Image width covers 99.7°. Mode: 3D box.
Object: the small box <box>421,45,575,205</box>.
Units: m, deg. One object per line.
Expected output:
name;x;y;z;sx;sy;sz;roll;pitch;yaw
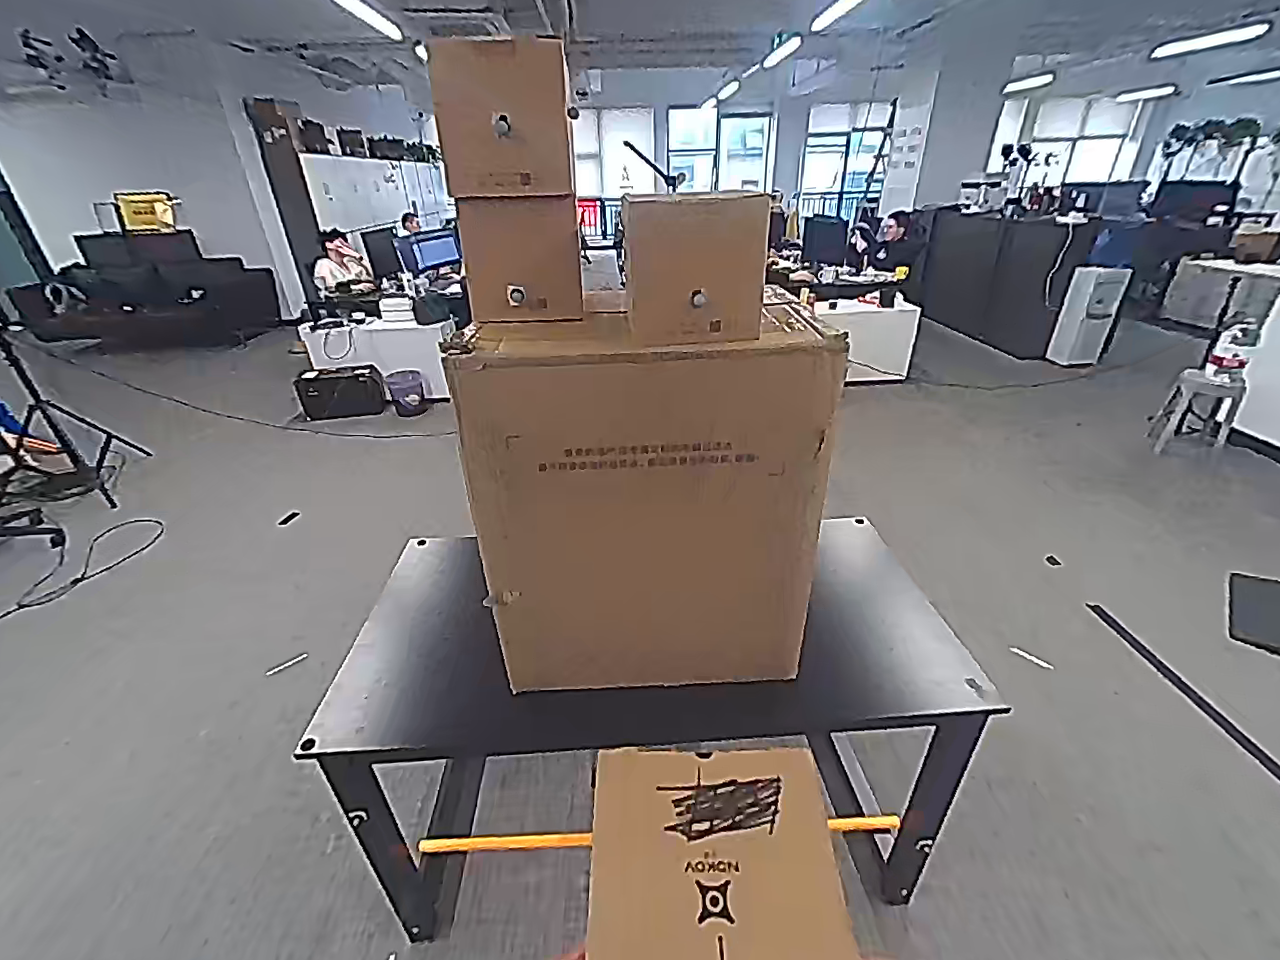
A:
small box;-0.180;-0.476;0.747;0.168;0.176;0.179;-4;29;-4

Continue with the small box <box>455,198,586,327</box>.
small box;-0.174;-0.340;0.840;0.168;0.176;0.179;-5;30;-5

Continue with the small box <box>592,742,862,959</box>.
small box;0.054;0.324;0.409;0.168;0.176;0.179;-1;41;1

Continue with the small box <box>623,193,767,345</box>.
small box;0.064;-0.288;0.731;0.168;0.176;0.179;-5;30;-2
